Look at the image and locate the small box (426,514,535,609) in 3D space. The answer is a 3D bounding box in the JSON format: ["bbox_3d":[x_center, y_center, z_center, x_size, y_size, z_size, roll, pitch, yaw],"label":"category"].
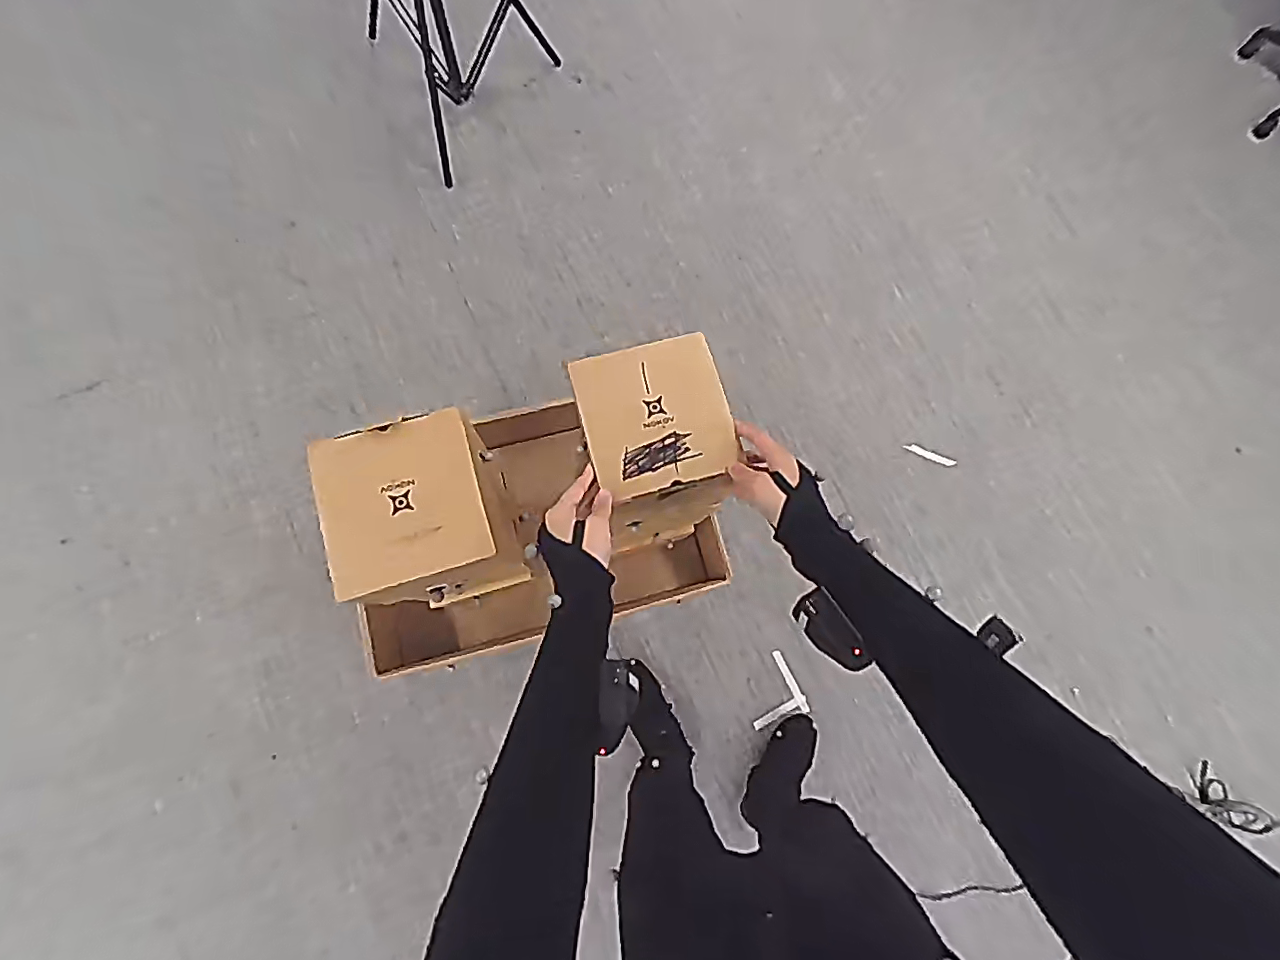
[{"bbox_3d":[-0.289,0.120,0.957,0.168,0.176,0.179,-15,78,-10],"label":"small box"}]

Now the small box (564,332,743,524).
[{"bbox_3d":[0.013,-0.051,0.672,0.168,0.176,0.179,-15,75,-5],"label":"small box"}]

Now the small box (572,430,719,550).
[{"bbox_3d":[0.000,0.003,0.839,0.179,0.176,0.168,-17,79,-8],"label":"small box"}]

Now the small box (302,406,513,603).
[{"bbox_3d":[-0.261,0.039,0.640,0.168,0.176,0.179,-16,78,-7],"label":"small box"}]

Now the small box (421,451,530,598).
[{"bbox_3d":[-0.272,0.074,0.800,0.179,0.176,0.168,-14,79,-9],"label":"small box"}]
